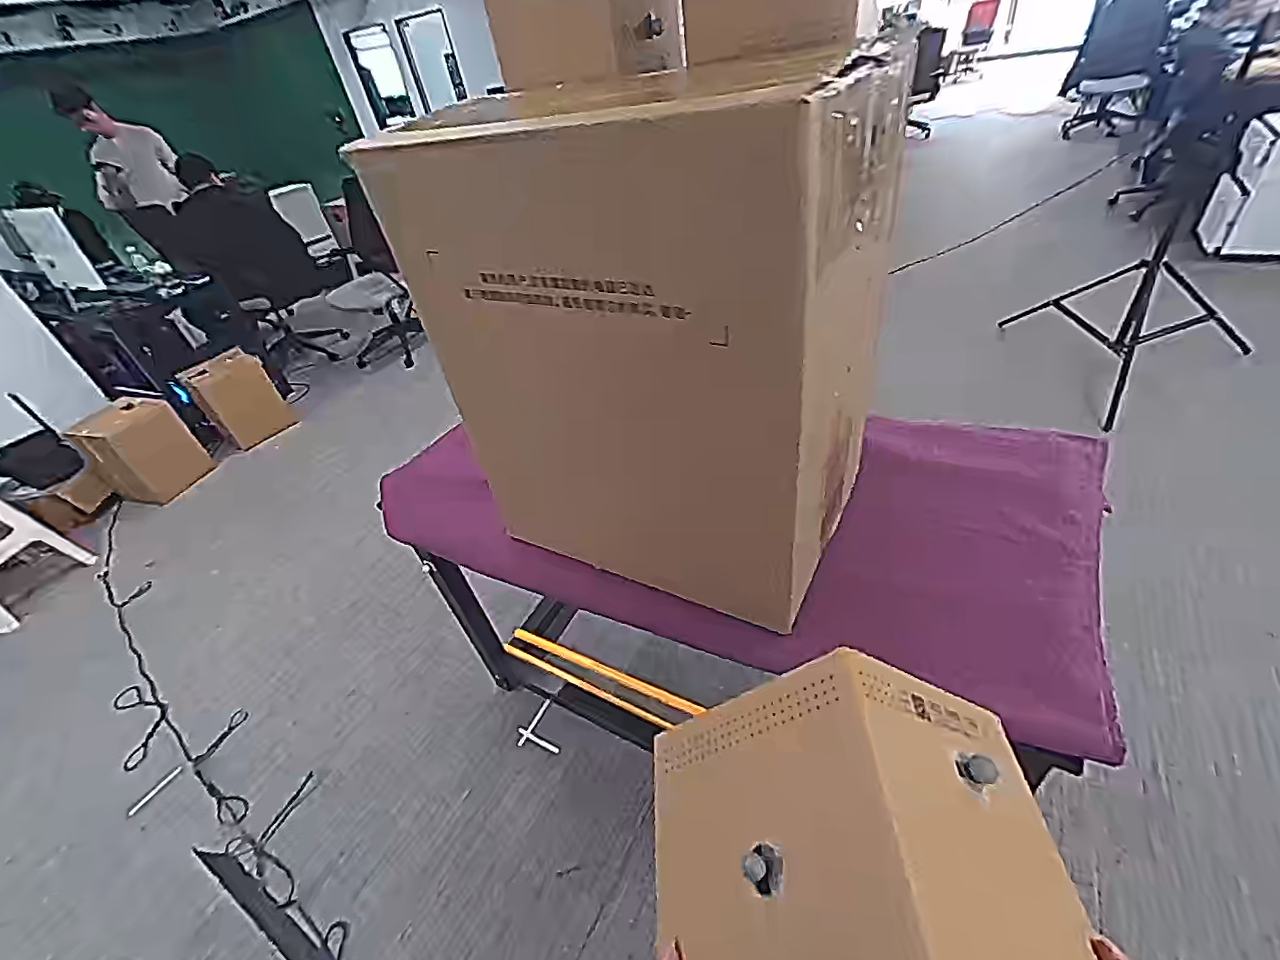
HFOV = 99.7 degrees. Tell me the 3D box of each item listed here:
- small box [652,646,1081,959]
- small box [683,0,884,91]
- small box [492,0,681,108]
[{"bbox_3d":[0.123,0.230,0.329,0.179,0.168,0.176,-43,30,34],"label":"small box"},{"bbox_3d":[0.151,-0.521,0.550,0.179,0.176,0.168,9,43,26],"label":"small box"},{"bbox_3d":[-0.065,-0.567,0.655,0.179,0.176,0.168,15,47,26],"label":"small box"}]
